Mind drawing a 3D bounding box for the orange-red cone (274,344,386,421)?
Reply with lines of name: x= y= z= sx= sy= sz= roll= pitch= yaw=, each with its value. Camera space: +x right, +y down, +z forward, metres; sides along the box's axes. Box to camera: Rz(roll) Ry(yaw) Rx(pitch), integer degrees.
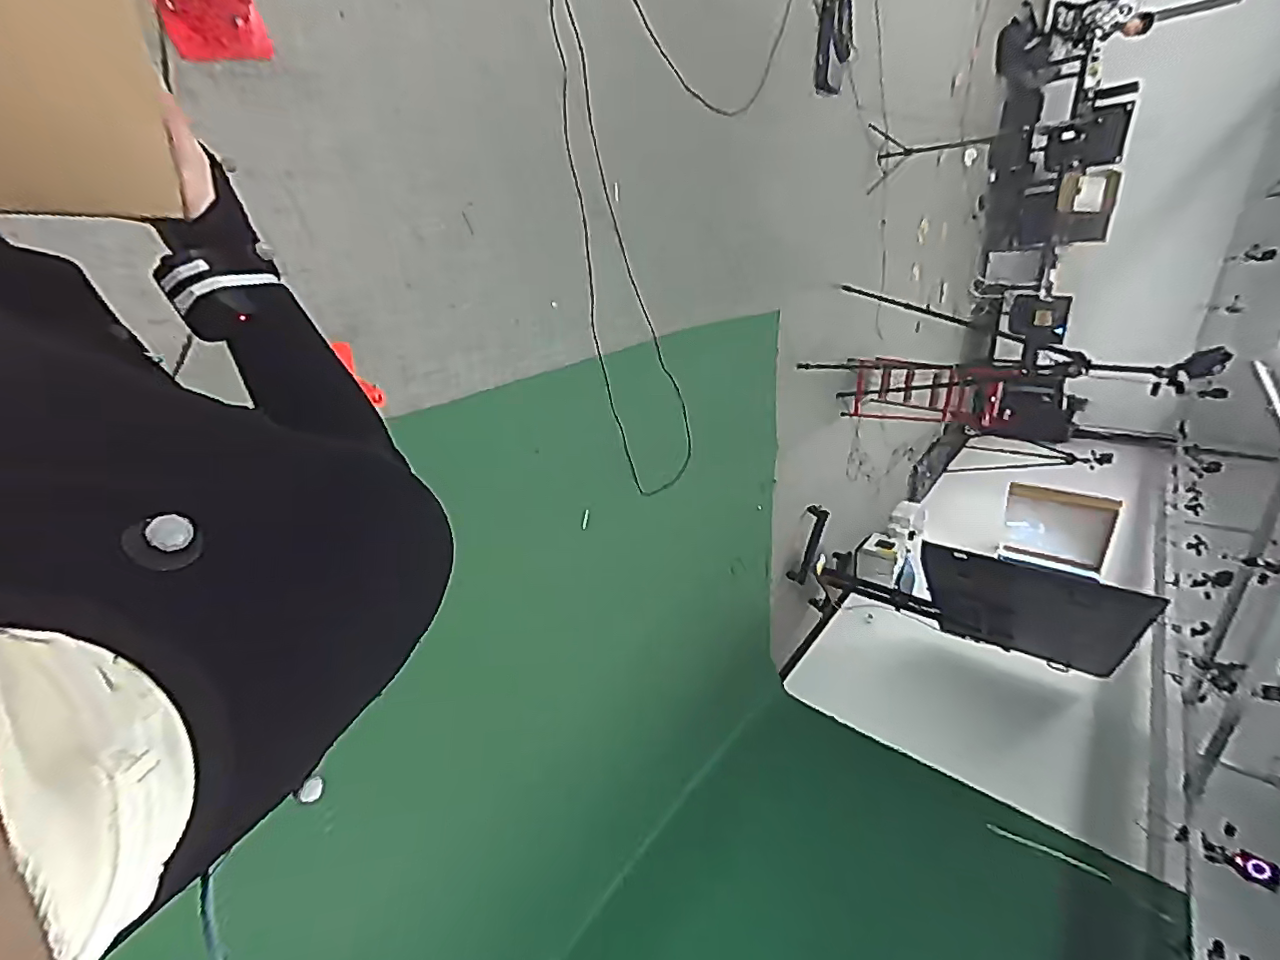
orange-red cone: x=-0.747 y=-0.230 z=1.376 sx=0.199 sy=0.360 sz=0.198 roll=-21 pitch=119 yaw=-47
